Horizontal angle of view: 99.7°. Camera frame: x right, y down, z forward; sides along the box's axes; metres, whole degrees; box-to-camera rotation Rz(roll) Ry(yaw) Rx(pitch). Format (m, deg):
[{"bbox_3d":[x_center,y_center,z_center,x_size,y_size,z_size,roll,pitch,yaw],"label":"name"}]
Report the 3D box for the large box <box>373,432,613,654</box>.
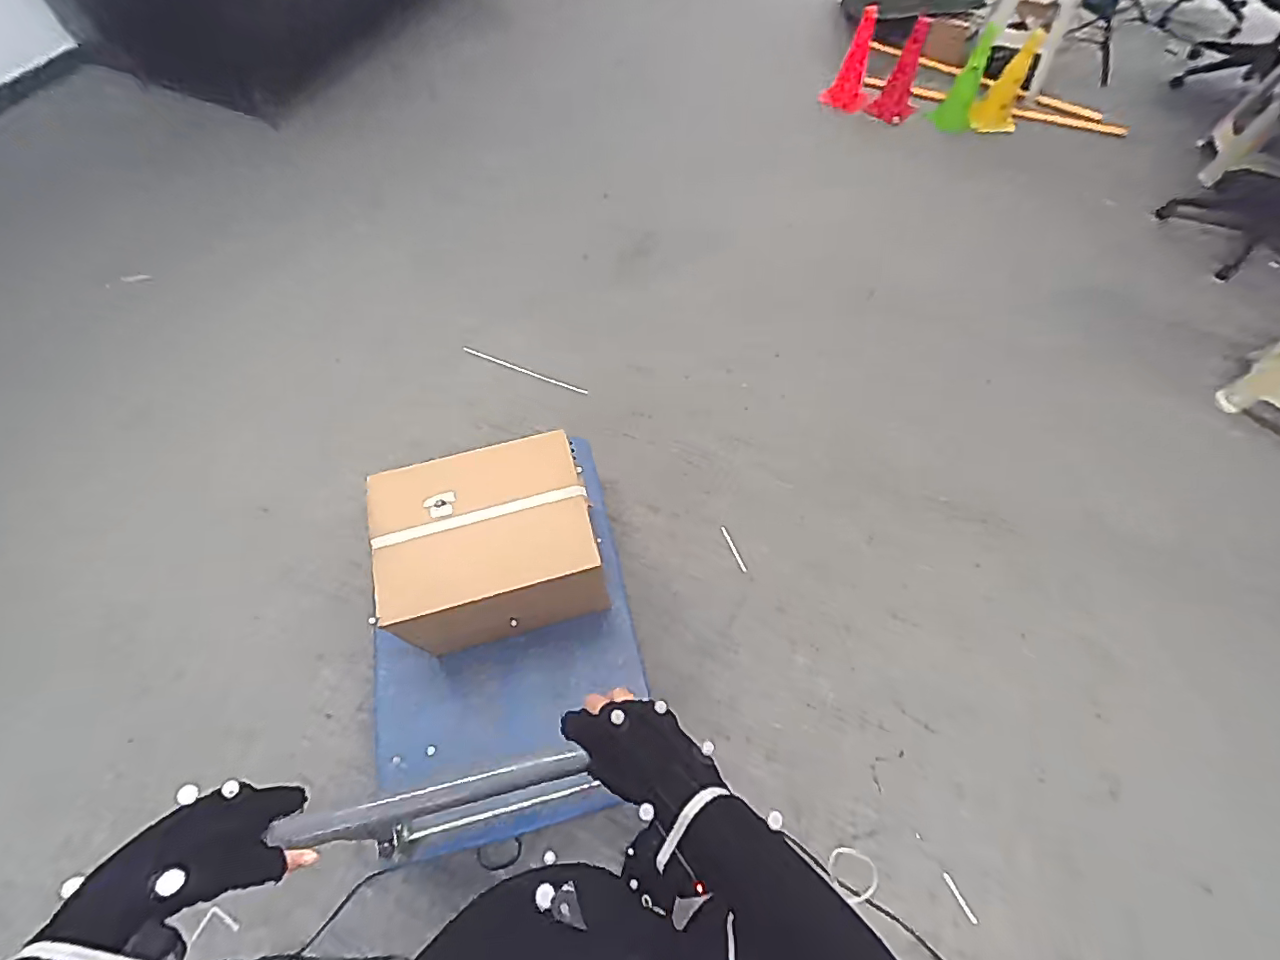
[{"bbox_3d":[-0.298,0.148,1.169,0.408,0.320,0.320,-15,62,-6],"label":"large box"}]
